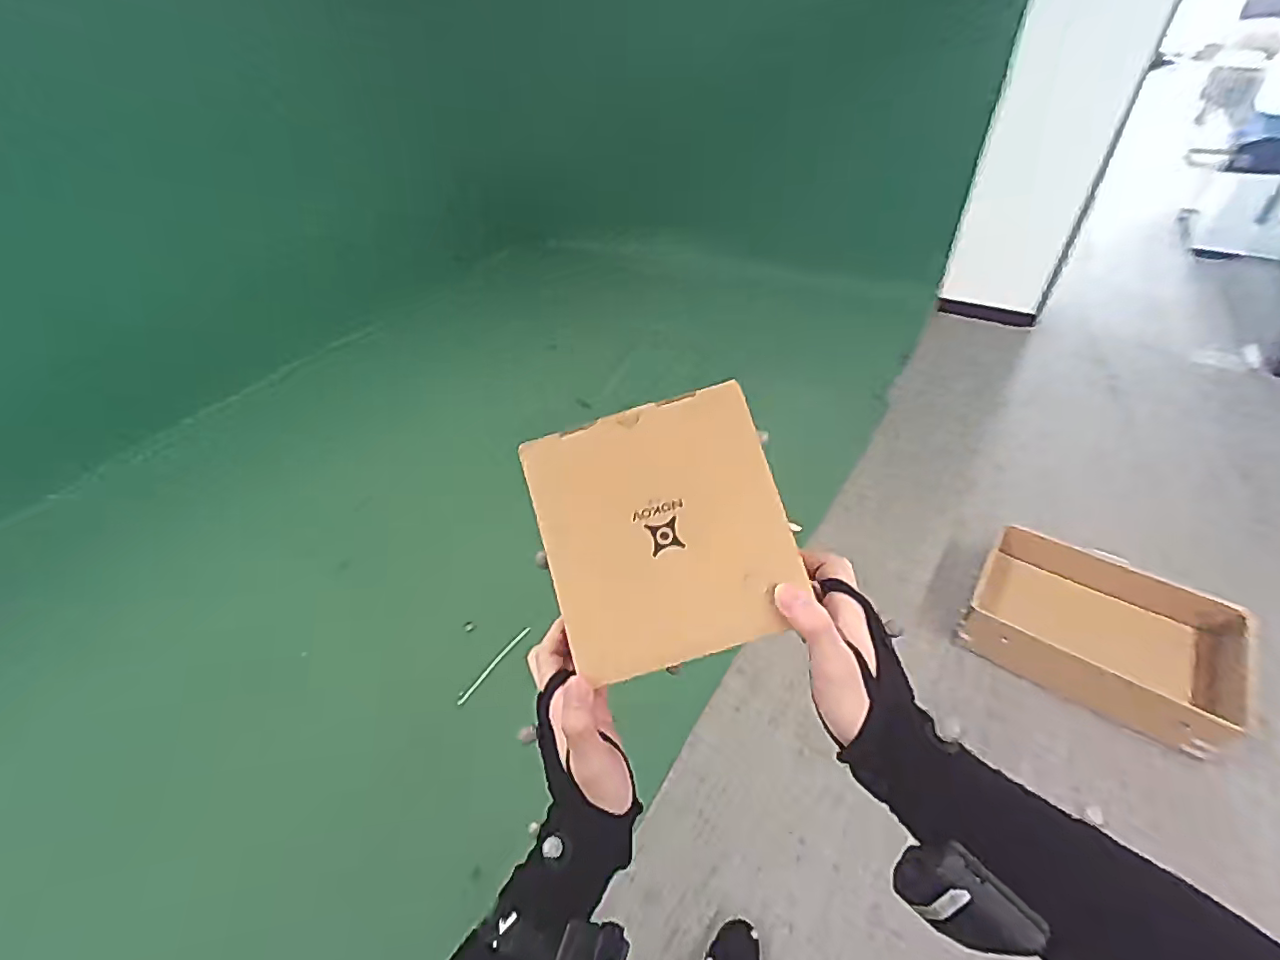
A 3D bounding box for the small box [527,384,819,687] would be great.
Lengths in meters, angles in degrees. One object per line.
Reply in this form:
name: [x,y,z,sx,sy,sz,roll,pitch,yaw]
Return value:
small box: [0.026,0.049,0.448,0.168,0.176,0.179,-17,77,1]
